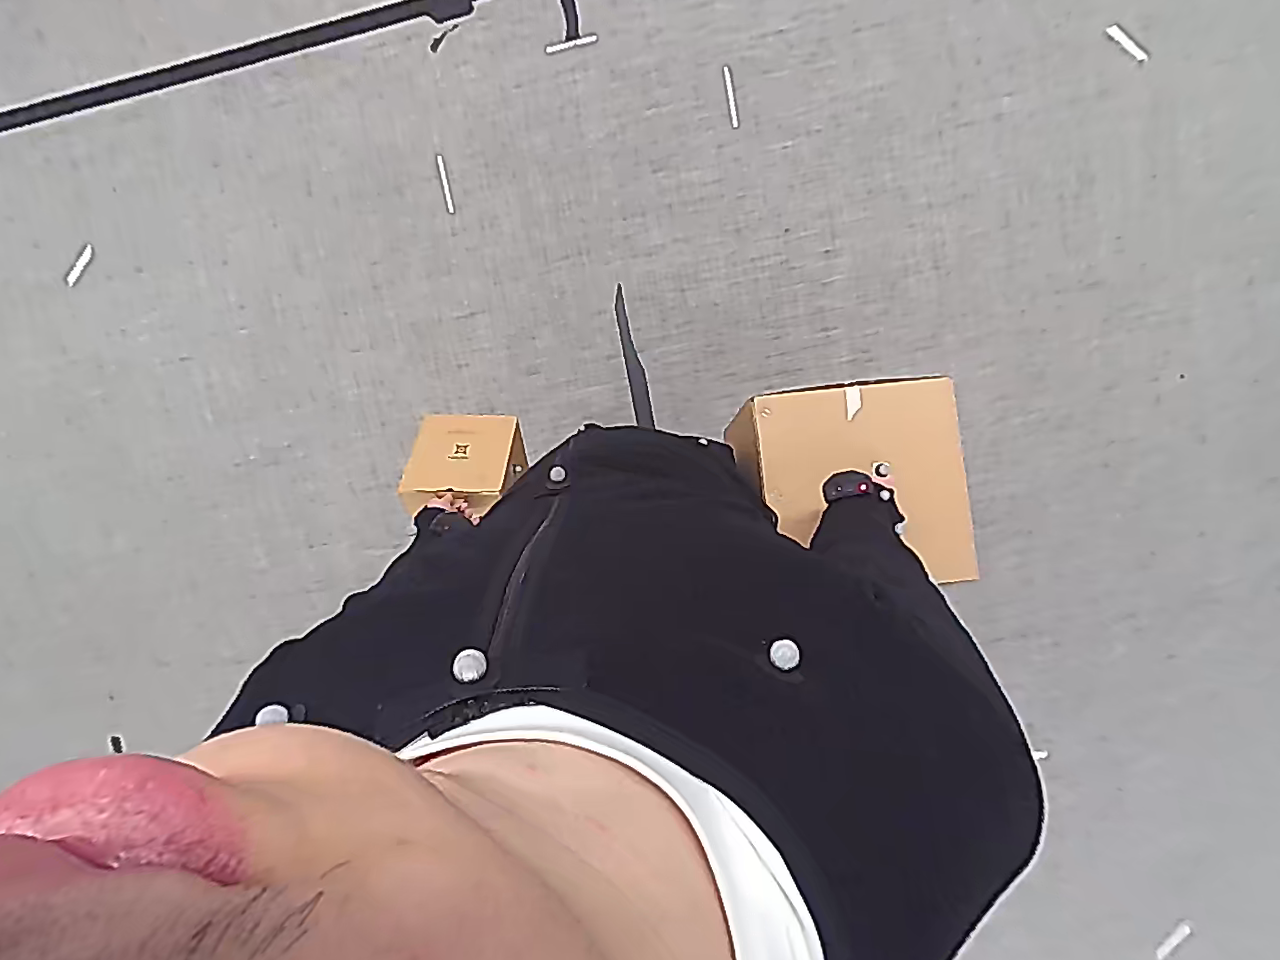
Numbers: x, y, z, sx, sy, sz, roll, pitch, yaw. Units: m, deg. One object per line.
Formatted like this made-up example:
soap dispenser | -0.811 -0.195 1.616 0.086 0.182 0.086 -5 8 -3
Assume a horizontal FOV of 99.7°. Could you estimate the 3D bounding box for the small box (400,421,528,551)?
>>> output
small box | -0.303 0.014 0.975 0.168 0.179 0.176 1 139 -1
